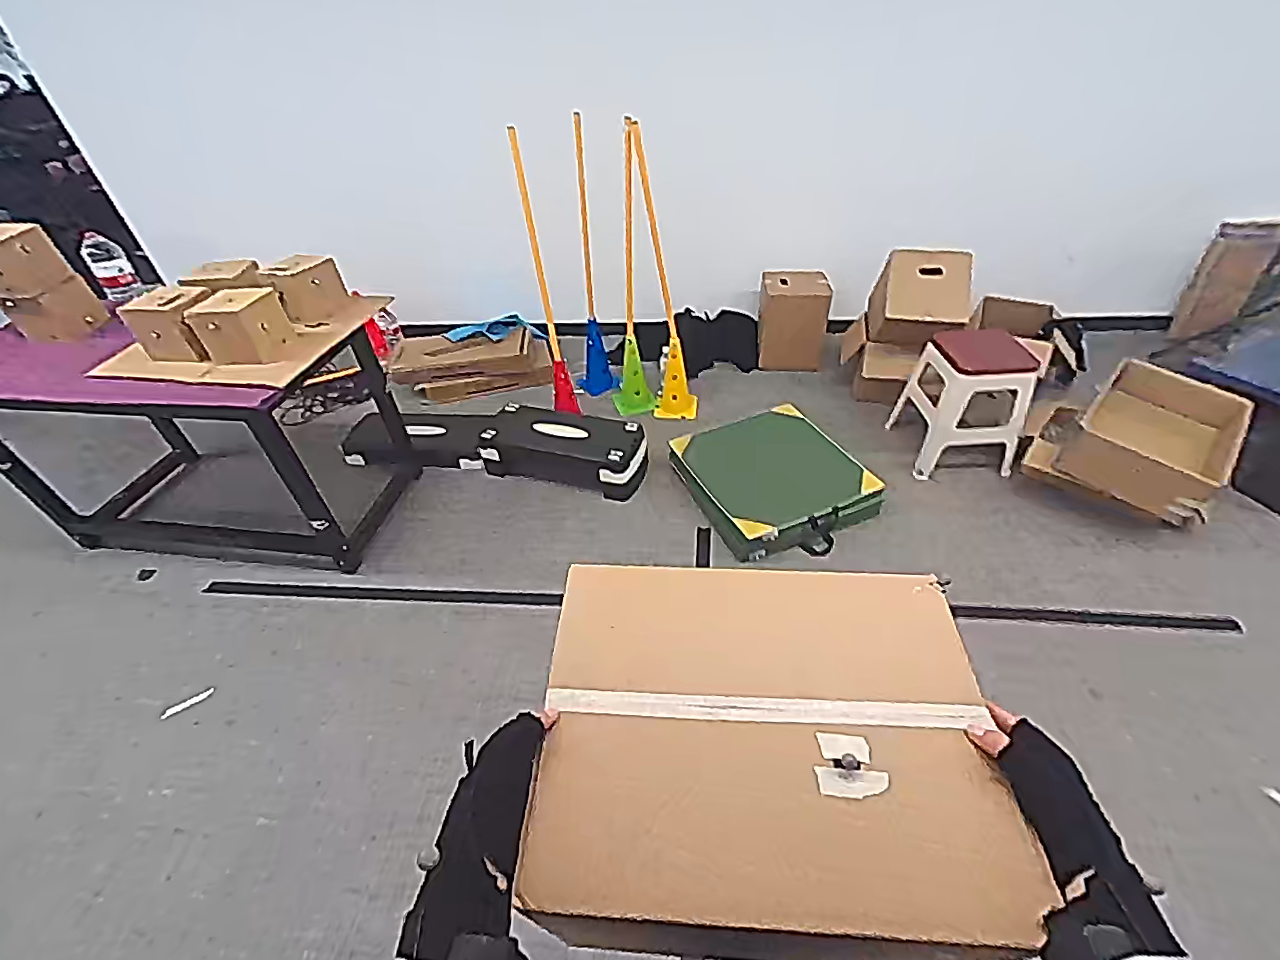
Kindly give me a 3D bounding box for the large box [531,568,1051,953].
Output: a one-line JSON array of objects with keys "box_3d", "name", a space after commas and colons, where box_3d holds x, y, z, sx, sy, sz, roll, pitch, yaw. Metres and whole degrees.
[{"box_3d": [0.120, 0.319, 0.620, 0.408, 0.320, 0.320, 1, 47, 4], "name": "large box"}]
